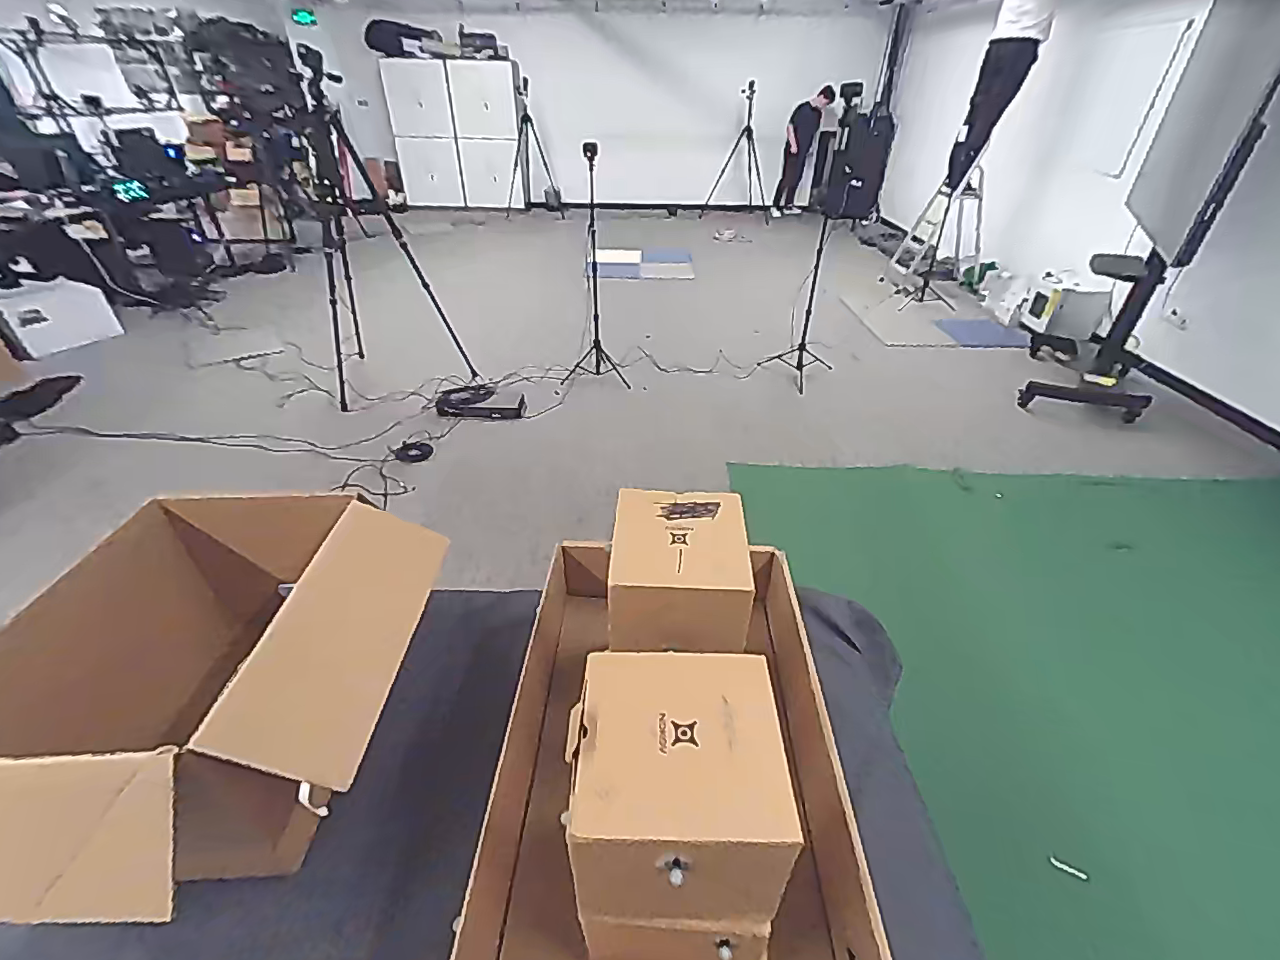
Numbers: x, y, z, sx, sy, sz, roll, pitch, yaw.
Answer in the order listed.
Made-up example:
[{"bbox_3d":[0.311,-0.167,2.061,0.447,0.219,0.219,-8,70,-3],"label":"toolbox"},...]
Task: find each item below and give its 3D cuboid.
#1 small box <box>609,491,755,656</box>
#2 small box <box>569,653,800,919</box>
[{"bbox_3d":[0.050,0.135,0.713,0.168,0.176,0.179,2,37,2],"label":"small box"},{"bbox_3d":[0.035,0.284,0.508,0.179,0.176,0.168,1,35,0],"label":"small box"}]
